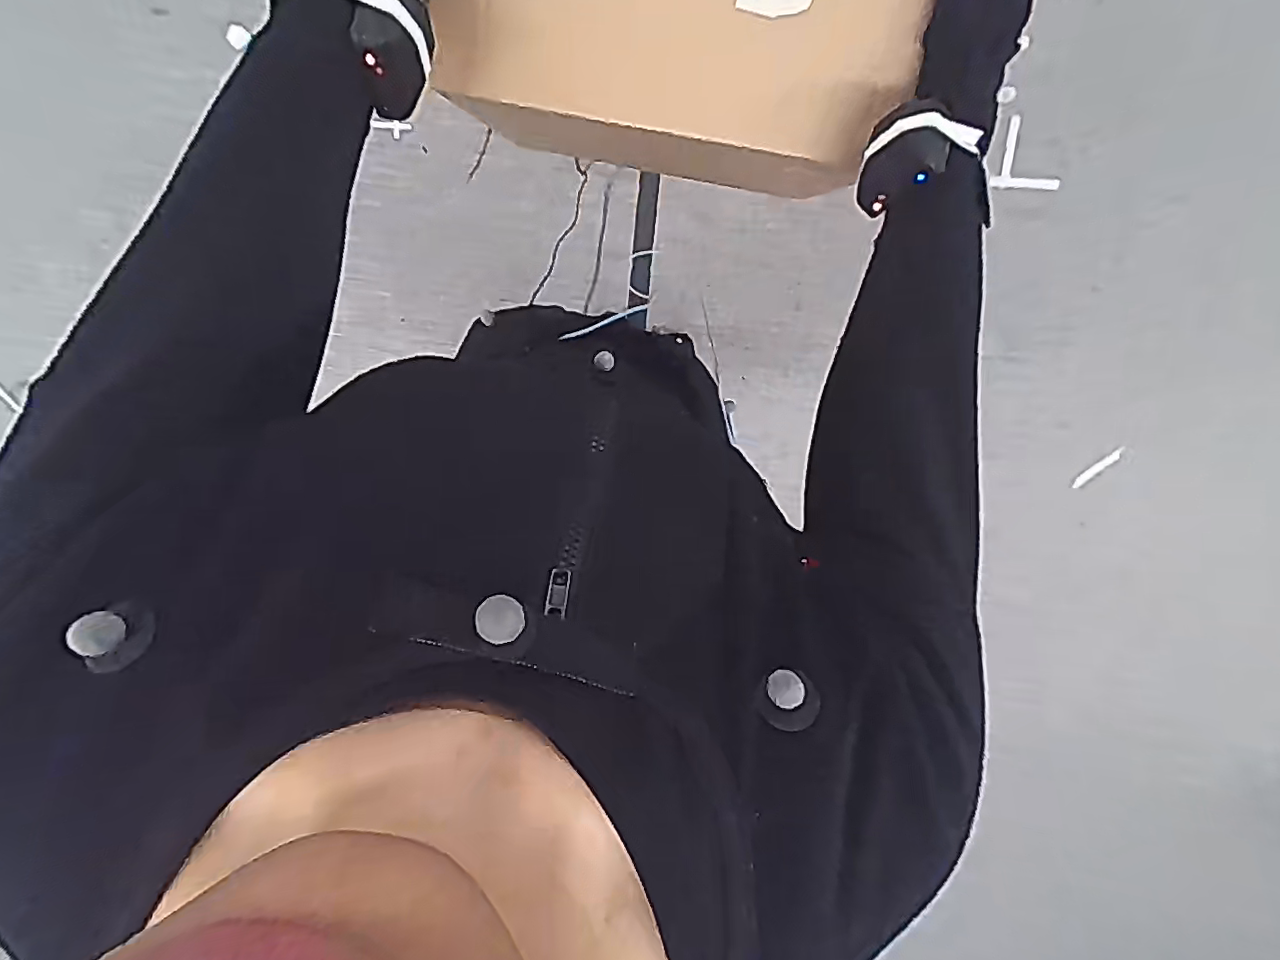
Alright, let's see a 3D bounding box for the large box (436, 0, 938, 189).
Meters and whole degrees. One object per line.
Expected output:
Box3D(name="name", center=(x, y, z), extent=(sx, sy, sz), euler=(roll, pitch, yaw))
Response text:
Box3D(name="large box", center=(0.047, -0.503, 0.538), extent=(0.408, 0.320, 0.320), euler=(9, 115, -3))
